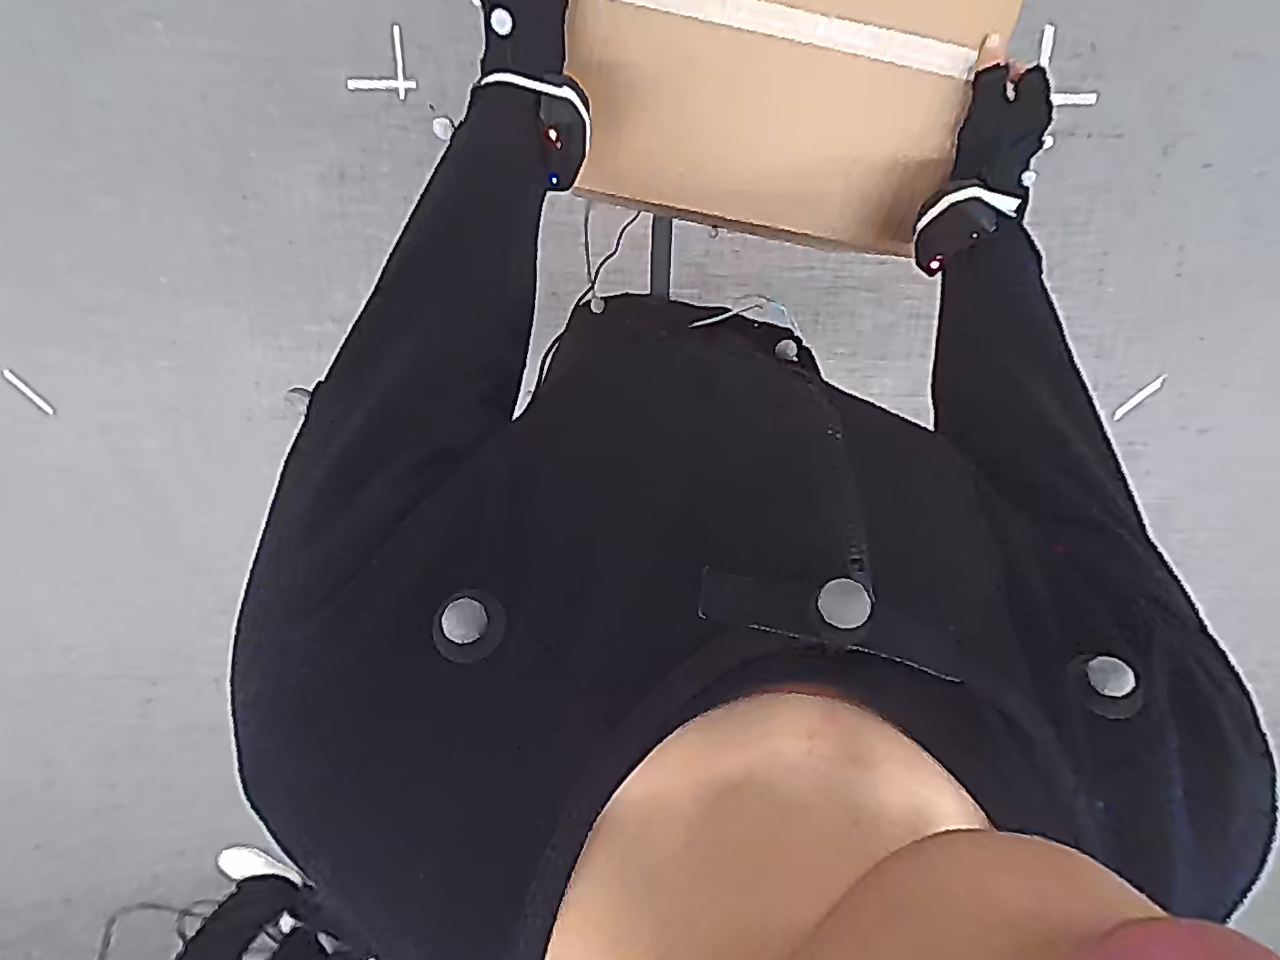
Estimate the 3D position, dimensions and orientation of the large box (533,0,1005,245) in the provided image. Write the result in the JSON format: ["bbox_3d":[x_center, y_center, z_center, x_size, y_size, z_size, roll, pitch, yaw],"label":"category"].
[{"bbox_3d":[0.119,-0.468,0.616,0.408,0.320,0.320,10,113,-3],"label":"large box"}]
